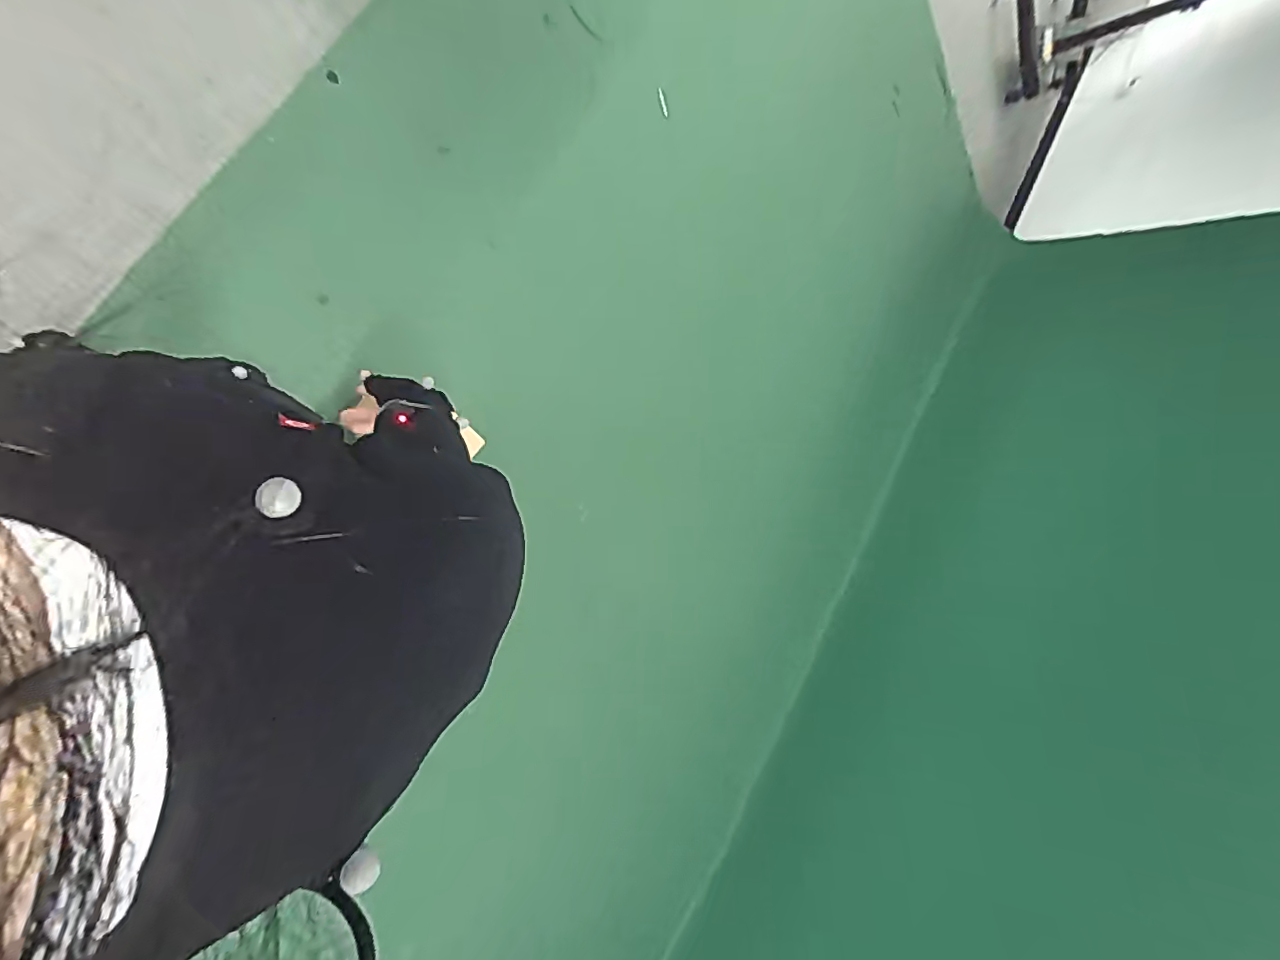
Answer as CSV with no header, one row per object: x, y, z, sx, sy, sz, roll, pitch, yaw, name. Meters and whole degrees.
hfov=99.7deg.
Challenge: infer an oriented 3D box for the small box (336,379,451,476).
-0.612,-0.137,1.341,0.168,0.176,0.179,-53,127,-20,small box
